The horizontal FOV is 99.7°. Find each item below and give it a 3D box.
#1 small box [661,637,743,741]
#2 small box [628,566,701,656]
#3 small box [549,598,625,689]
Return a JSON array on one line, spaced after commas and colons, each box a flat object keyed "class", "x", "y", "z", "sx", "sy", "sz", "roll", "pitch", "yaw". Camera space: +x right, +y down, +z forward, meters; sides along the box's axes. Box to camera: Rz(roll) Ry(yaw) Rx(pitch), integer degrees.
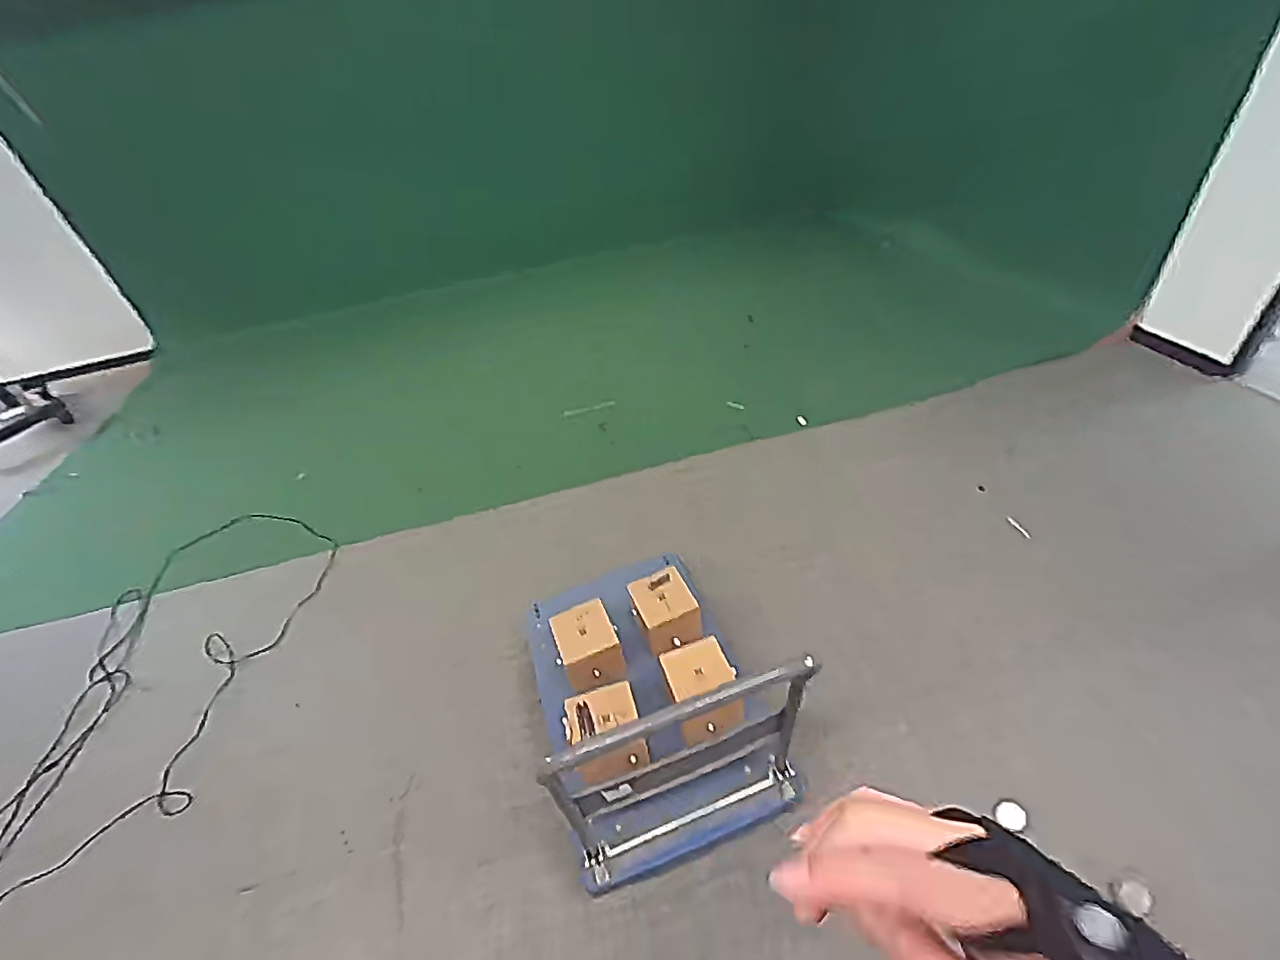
[{"class": "small box", "x": 0.165, "y": 0.565, "z": 1.461, "sx": 0.168, "sy": 0.176, "sz": 0.179, "roll": -18, "pitch": 42, "yaw": -9}, {"class": "small box", "x": 0.075, "y": 0.403, "z": 1.659, "sx": 0.168, "sy": 0.176, "sz": 0.179, "roll": -21, "pitch": 43, "yaw": -12}, {"class": "small box", "x": -0.155, "y": 0.492, "z": 1.605, "sx": 0.168, "sy": 0.176, "sz": 0.179, "roll": -20, "pitch": 42, "yaw": -13}]
